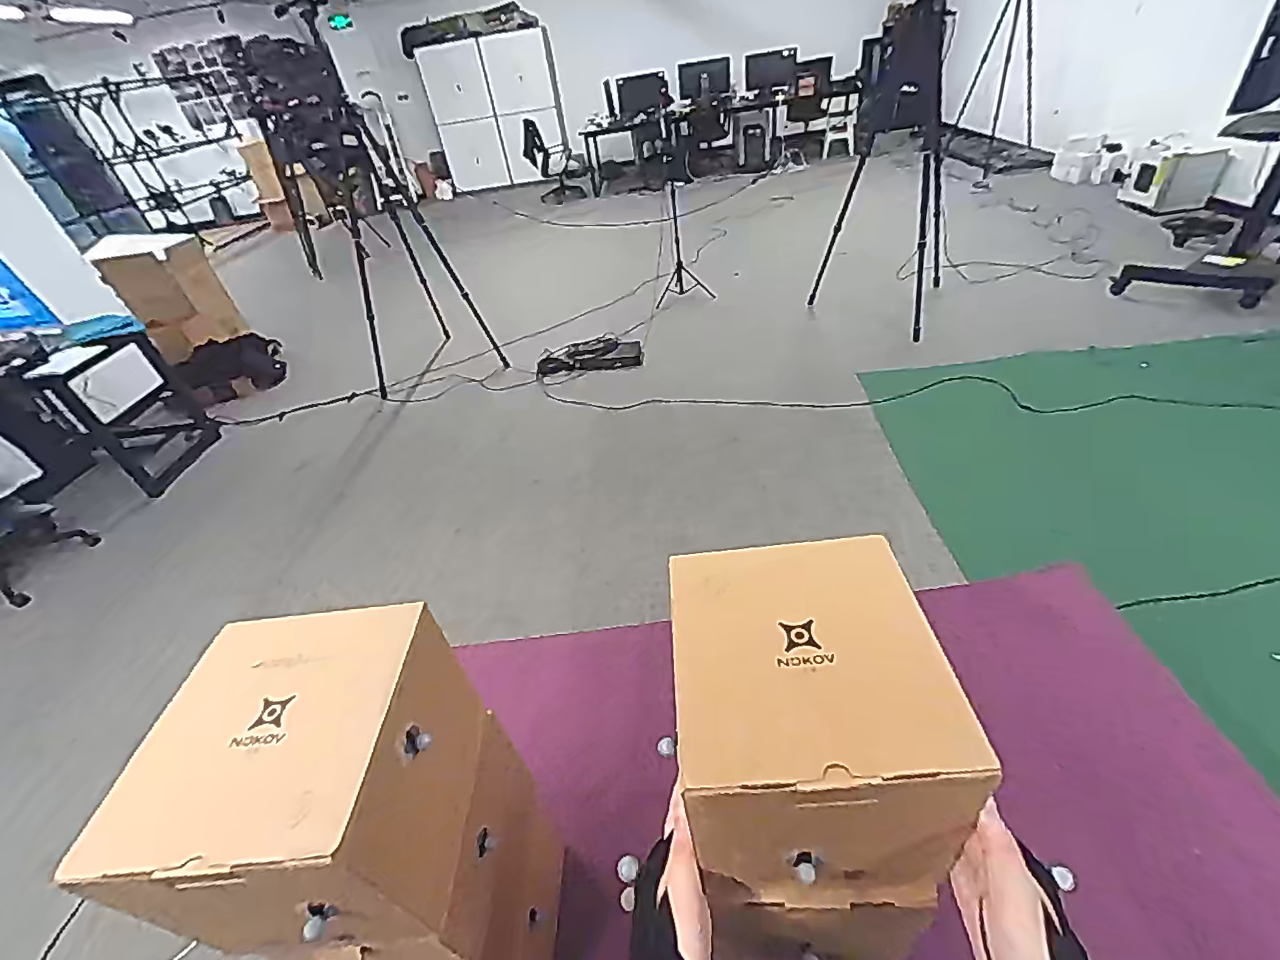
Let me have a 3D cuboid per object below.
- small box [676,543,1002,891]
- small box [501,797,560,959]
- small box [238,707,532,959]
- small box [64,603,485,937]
[{"bbox_3d":[0.115,0.170,0.397,0.168,0.176,0.179,-6,39,5],"label":"small box"},{"bbox_3d":[-0.194,0.474,0.611,0.168,0.176,0.179,-5,40,5],"label":"small box"},{"bbox_3d":[-0.212,0.343,0.513,0.168,0.176,0.179,-5,38,6],"label":"small box"},{"bbox_3d":[-0.232,0.219,0.409,0.168,0.176,0.179,-5,39,4],"label":"small box"}]
